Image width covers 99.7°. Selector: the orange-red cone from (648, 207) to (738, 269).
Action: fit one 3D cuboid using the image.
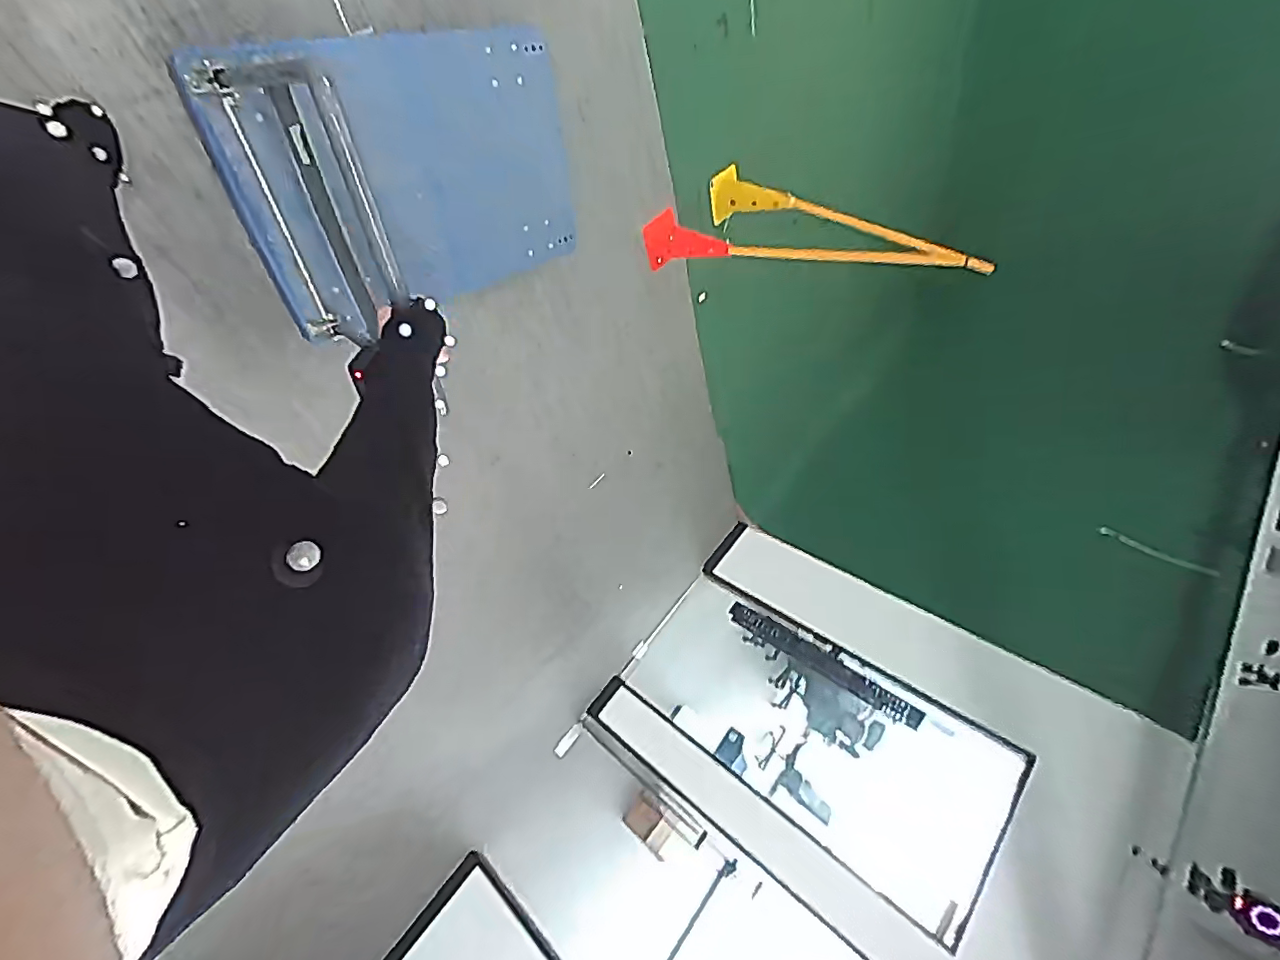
[{"bbox_3d":[0.236,-0.960,2.182,0.199,0.360,0.198,-48,143,-24],"label":"orange-red cone"}]
